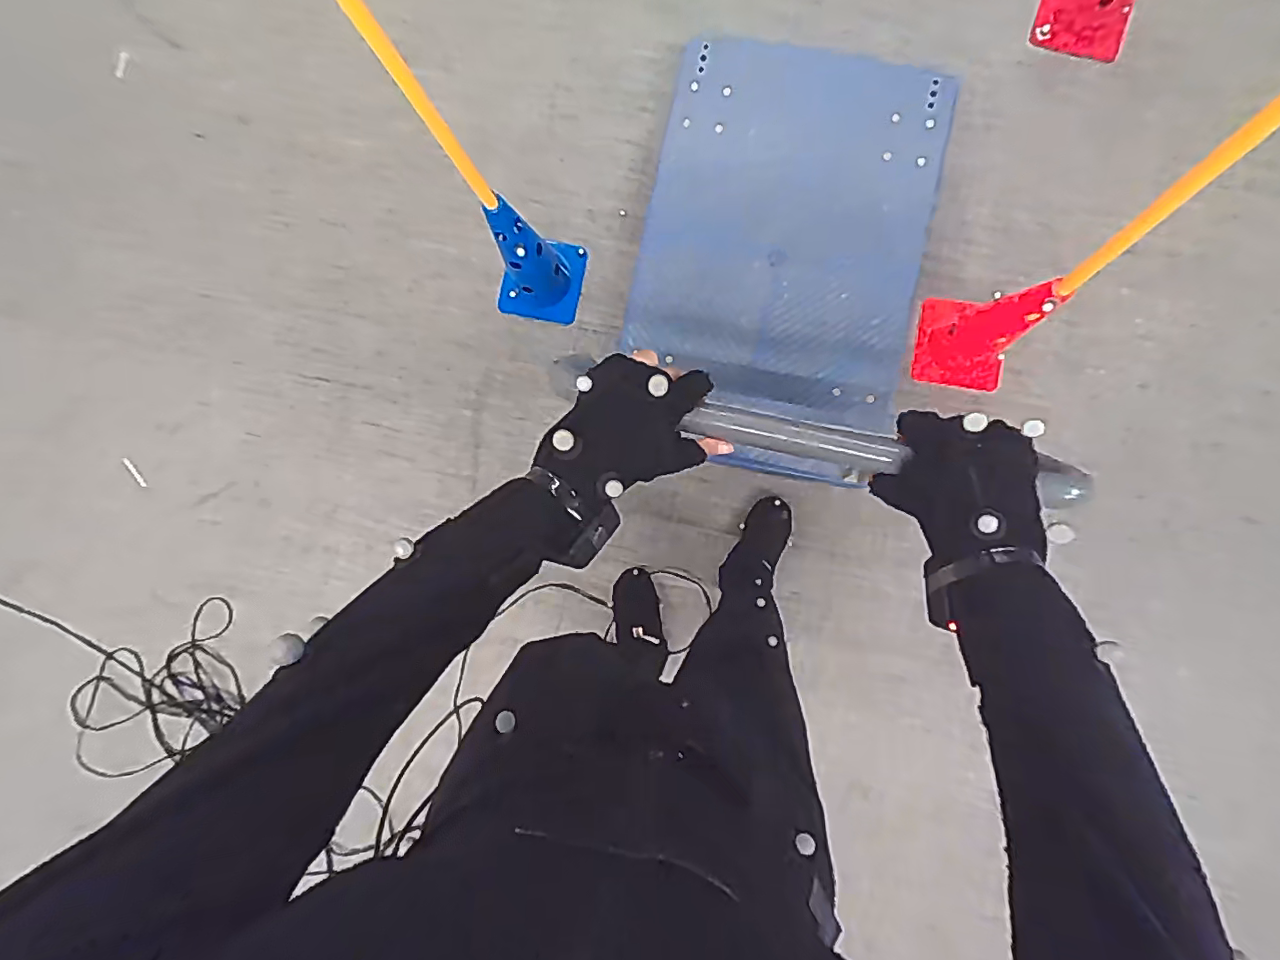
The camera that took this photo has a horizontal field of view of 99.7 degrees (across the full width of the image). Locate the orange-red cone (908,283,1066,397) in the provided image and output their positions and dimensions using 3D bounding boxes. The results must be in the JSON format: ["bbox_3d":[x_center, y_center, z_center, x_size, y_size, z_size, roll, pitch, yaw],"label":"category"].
[{"bbox_3d":[0.729,-0.312,1.103,0.199,0.360,0.198,12,89,6],"label":"orange-red cone"}]
